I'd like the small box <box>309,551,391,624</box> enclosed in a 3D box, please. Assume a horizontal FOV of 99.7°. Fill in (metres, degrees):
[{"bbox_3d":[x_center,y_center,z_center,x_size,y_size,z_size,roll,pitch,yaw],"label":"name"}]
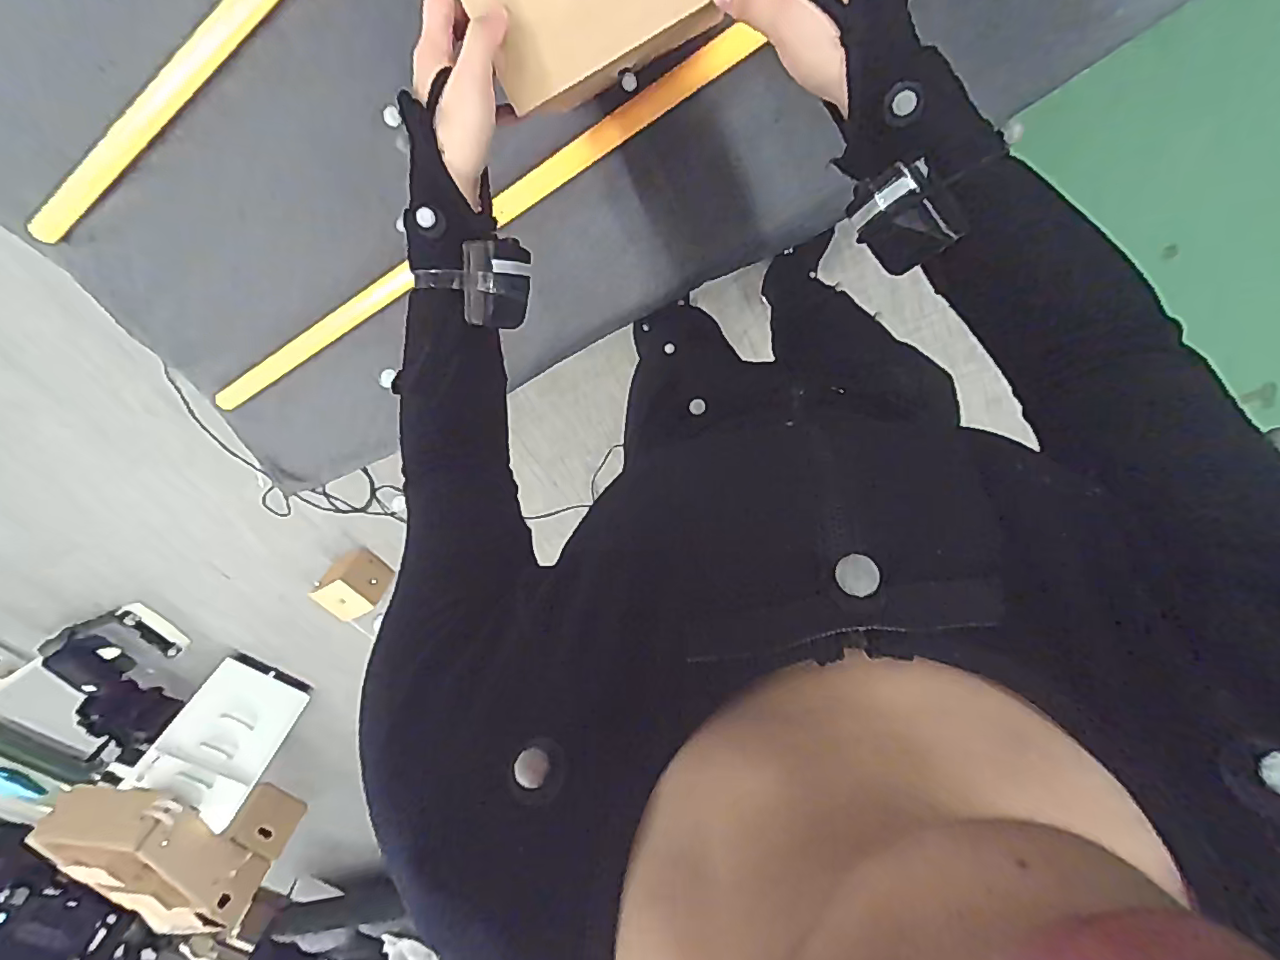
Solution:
[{"bbox_3d":[-1.038,0.385,1.957,0.179,0.176,0.168,-26,119,23],"label":"small box"}]
